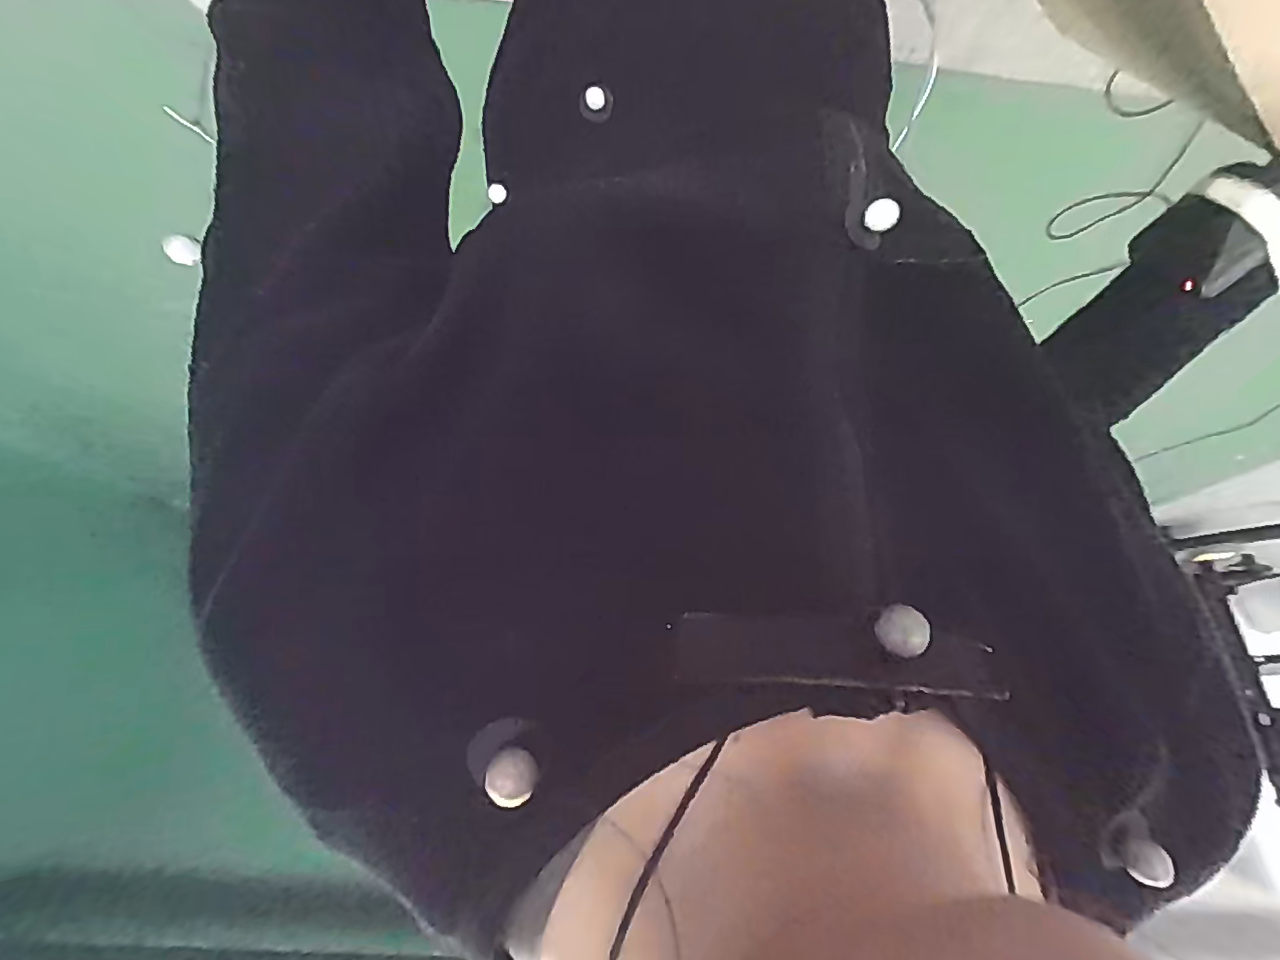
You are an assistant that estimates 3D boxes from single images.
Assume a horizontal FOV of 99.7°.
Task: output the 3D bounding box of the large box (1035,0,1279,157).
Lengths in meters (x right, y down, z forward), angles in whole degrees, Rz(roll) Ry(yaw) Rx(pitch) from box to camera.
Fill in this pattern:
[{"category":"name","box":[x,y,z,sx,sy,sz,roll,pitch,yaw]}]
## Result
[{"category":"large box","box":[0.320,-0.467,0.254,0.408,0.320,0.320,30,135,-23]}]
